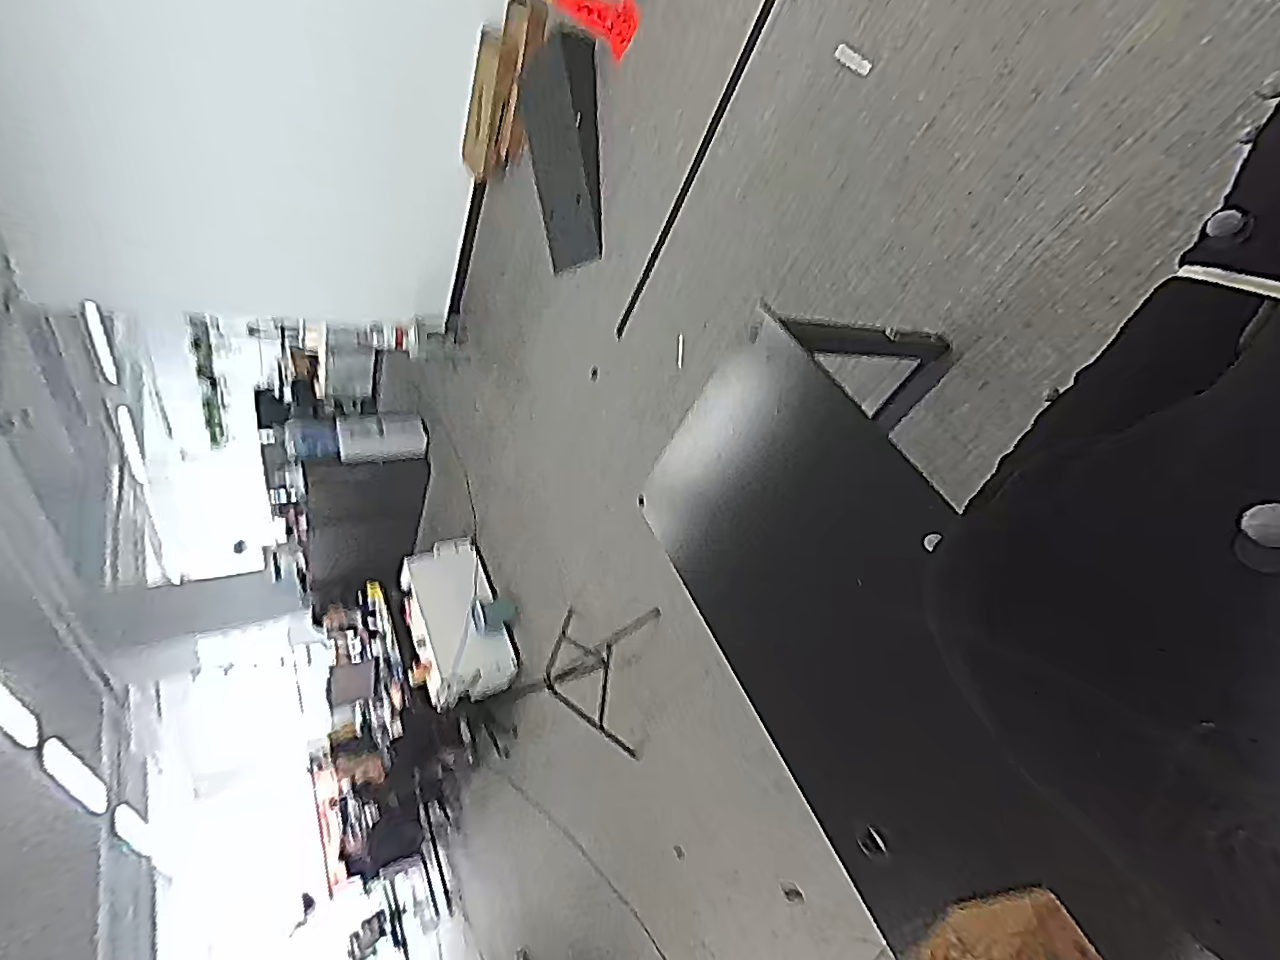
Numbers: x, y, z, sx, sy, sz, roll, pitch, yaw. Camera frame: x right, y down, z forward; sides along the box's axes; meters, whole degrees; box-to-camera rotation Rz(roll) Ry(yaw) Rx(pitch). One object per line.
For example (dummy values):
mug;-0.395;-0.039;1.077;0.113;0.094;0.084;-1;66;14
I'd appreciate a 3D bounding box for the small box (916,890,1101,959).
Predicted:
small box;0.496;0.669;0.697;0.168;0.176;0.179;59;139;31
